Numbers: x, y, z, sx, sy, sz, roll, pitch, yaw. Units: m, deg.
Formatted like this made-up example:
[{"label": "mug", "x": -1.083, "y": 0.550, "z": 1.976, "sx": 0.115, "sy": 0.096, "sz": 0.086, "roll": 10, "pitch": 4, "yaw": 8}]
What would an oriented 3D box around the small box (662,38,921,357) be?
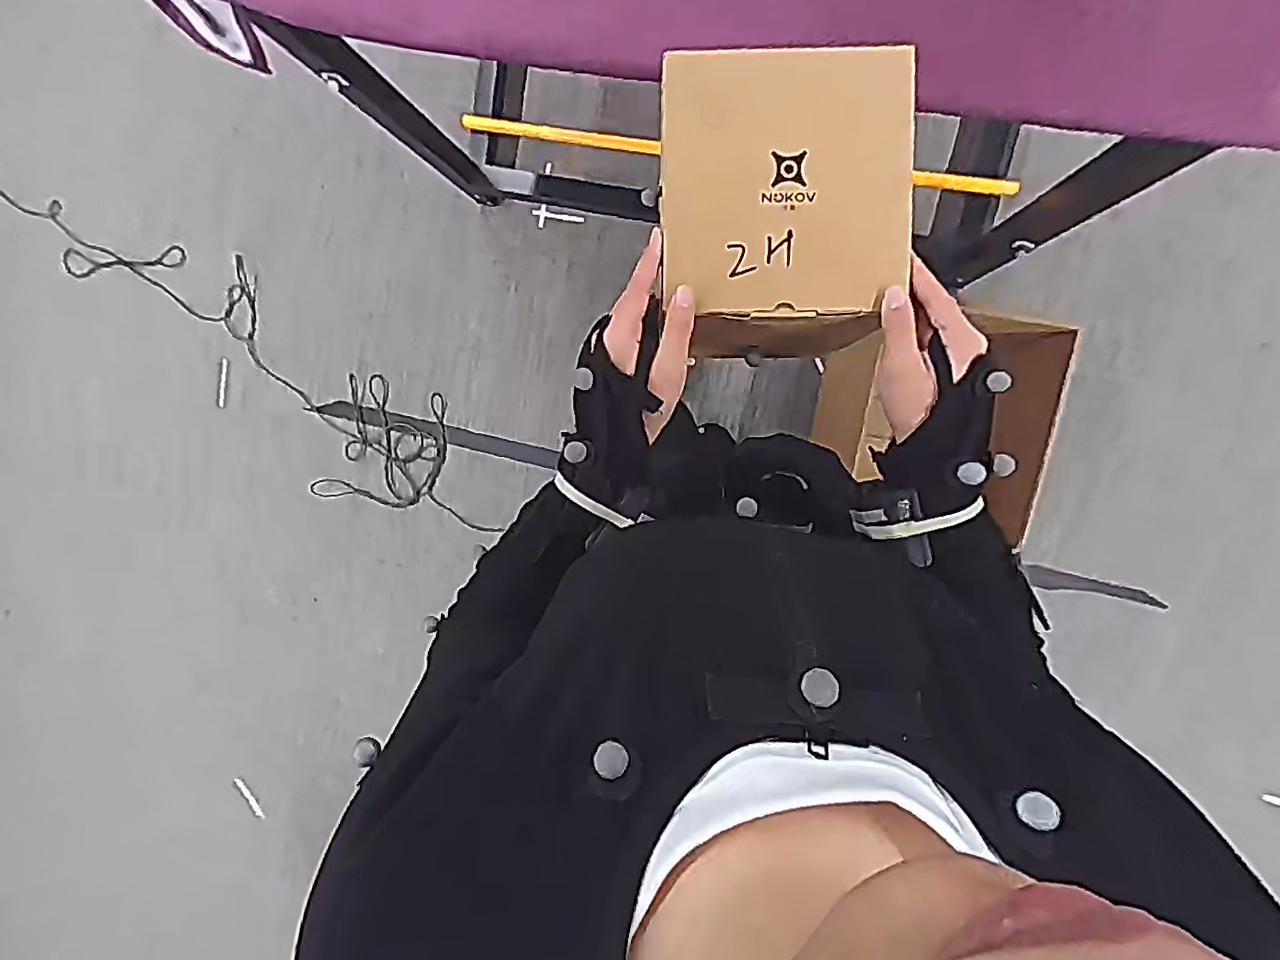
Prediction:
[{"label": "small box", "x": 0.103, "y": -0.205, "z": 0.437, "sx": 0.168, "sy": 0.176, "sz": 0.179, "roll": 1, "pitch": 92, "yaw": 2}]
